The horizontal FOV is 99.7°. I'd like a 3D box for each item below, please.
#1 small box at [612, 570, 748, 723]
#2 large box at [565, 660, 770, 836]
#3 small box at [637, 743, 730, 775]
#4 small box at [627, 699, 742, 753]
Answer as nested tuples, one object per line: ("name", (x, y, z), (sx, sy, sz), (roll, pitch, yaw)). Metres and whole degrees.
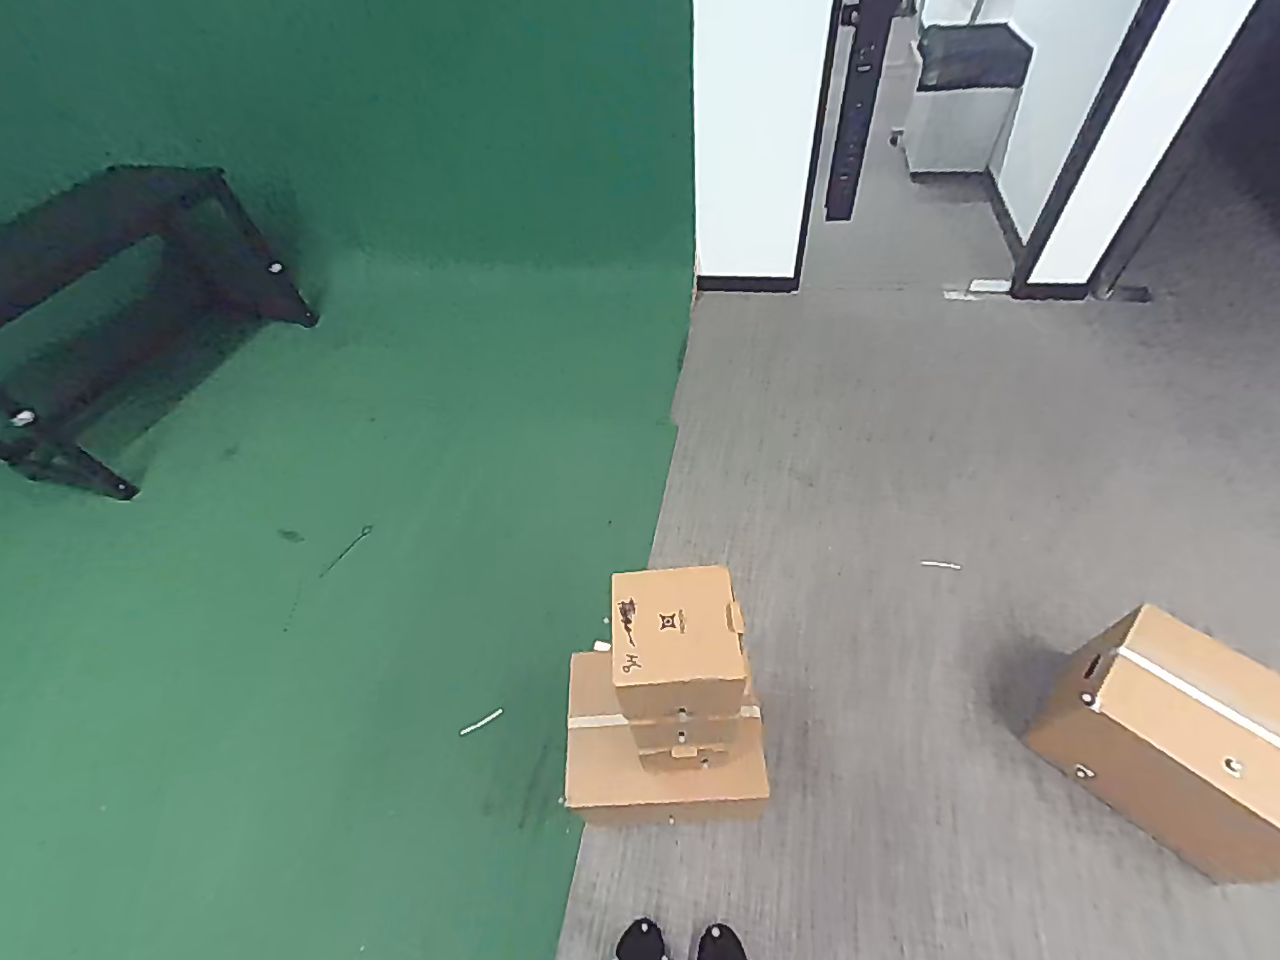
("small box", (0.053, 0.248, 0.799), (0.179, 0.176, 0.168), (-4, 50, 2))
("large box", (0.063, 0.610, 1.244), (0.408, 0.320, 0.320), (-6, 49, 4))
("small box", (0.082, 0.461, 1.046), (0.168, 0.176, 0.179), (-4, 50, 3))
("small box", (0.071, 0.355, 0.923), (0.179, 0.176, 0.168), (-6, 50, 2))
